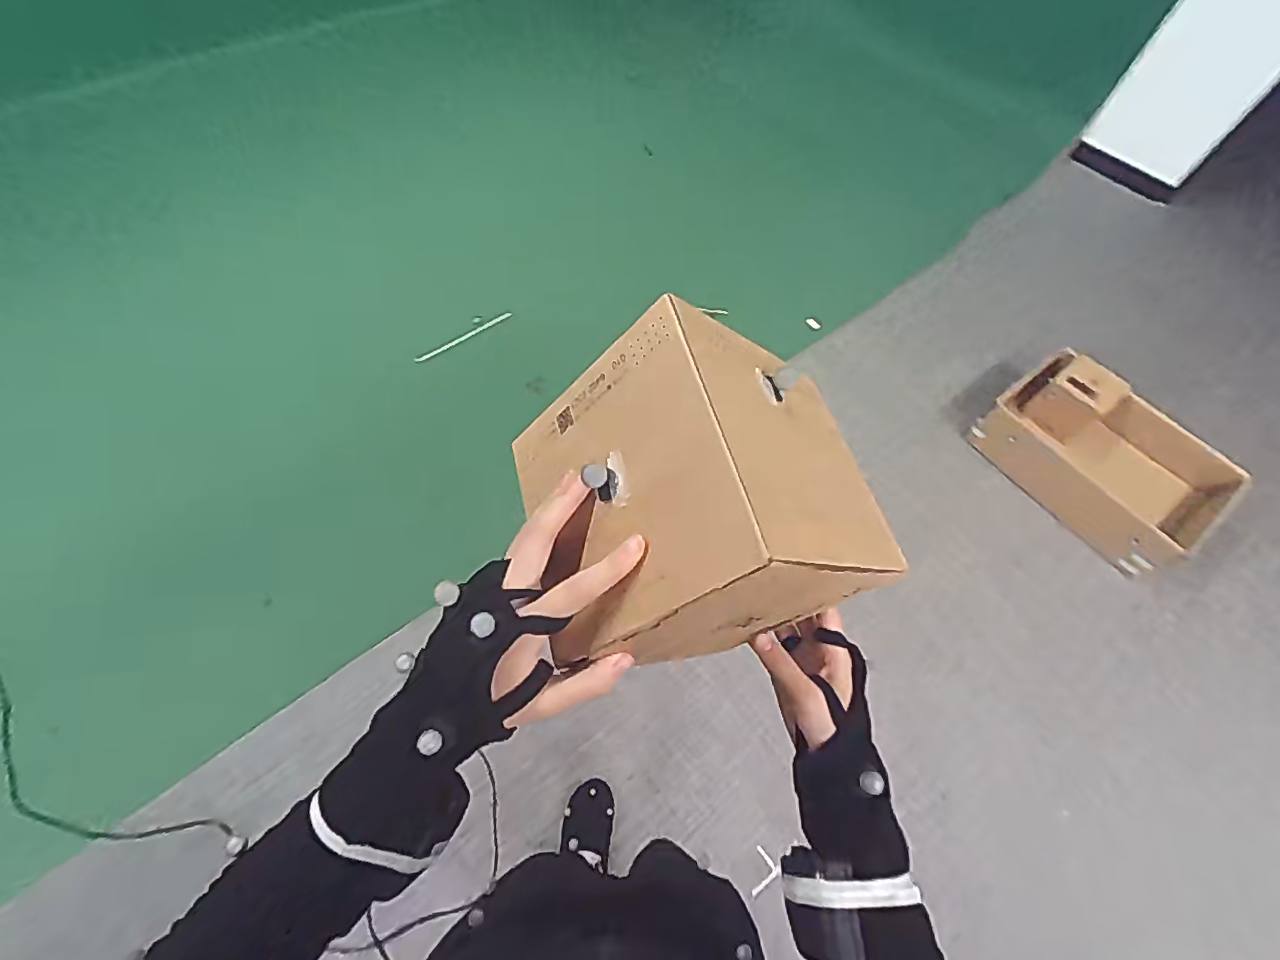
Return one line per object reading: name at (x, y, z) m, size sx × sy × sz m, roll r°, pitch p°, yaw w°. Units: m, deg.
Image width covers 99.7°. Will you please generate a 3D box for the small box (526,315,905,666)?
small box at (0.040, 0.017, 0.373) m, size 0.179 × 0.168 × 0.176 m, roll 14°, pitch 52°, yaw -44°
